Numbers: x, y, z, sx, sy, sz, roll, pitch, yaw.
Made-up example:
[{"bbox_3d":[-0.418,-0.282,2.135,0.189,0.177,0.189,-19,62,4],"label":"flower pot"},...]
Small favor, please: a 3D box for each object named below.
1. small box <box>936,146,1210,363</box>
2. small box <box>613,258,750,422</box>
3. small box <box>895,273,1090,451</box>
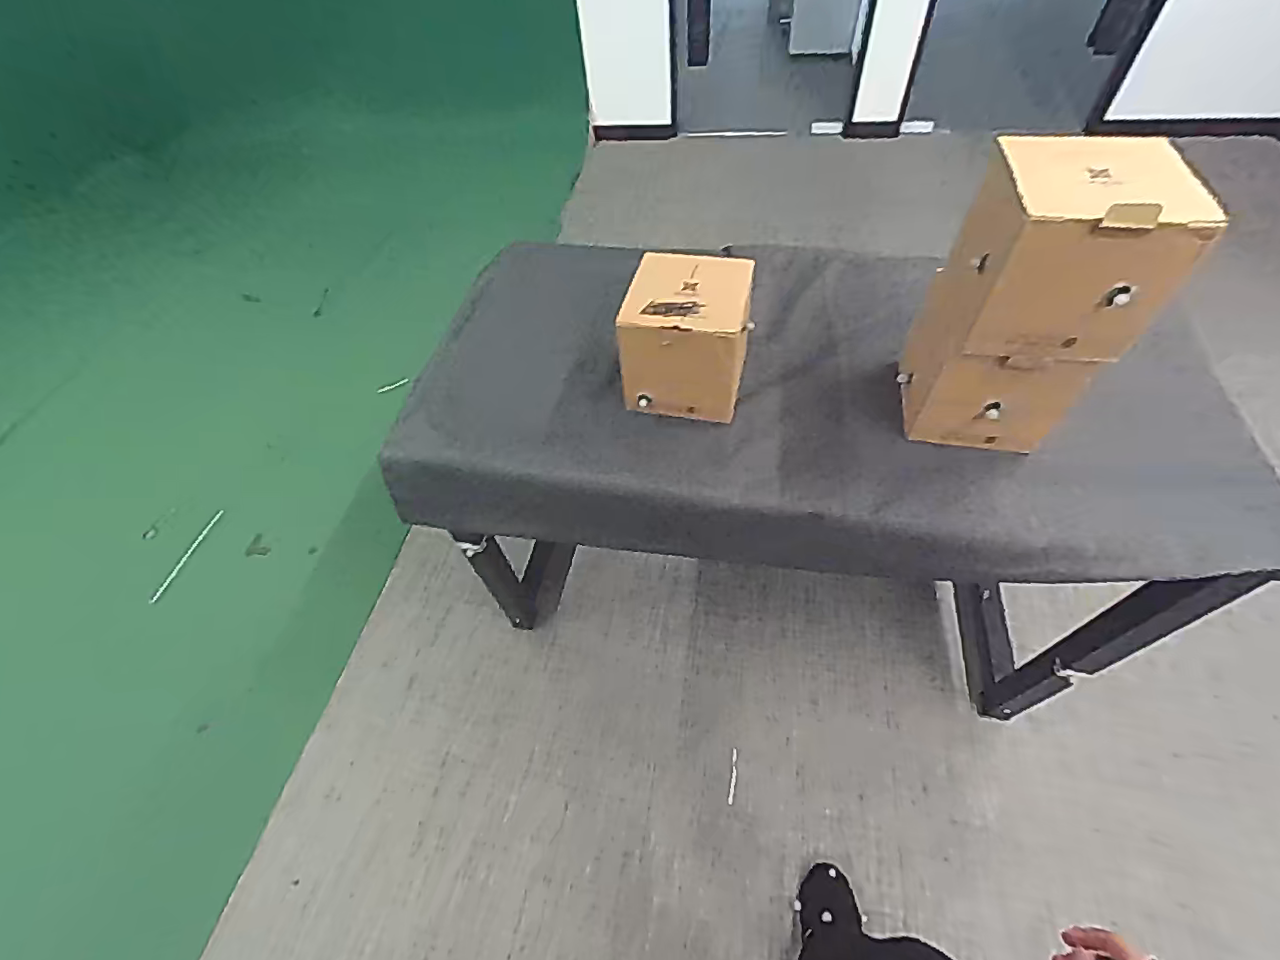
[{"bbox_3d":[0.458,-0.253,0.613,0.168,0.176,0.179,7,53,10],"label":"small box"},{"bbox_3d":[0.068,-0.210,0.820,0.168,0.176,0.179,9,53,11],"label":"small box"},{"bbox_3d":[0.465,-0.160,0.747,0.168,0.176,0.179,8,54,11],"label":"small box"}]
